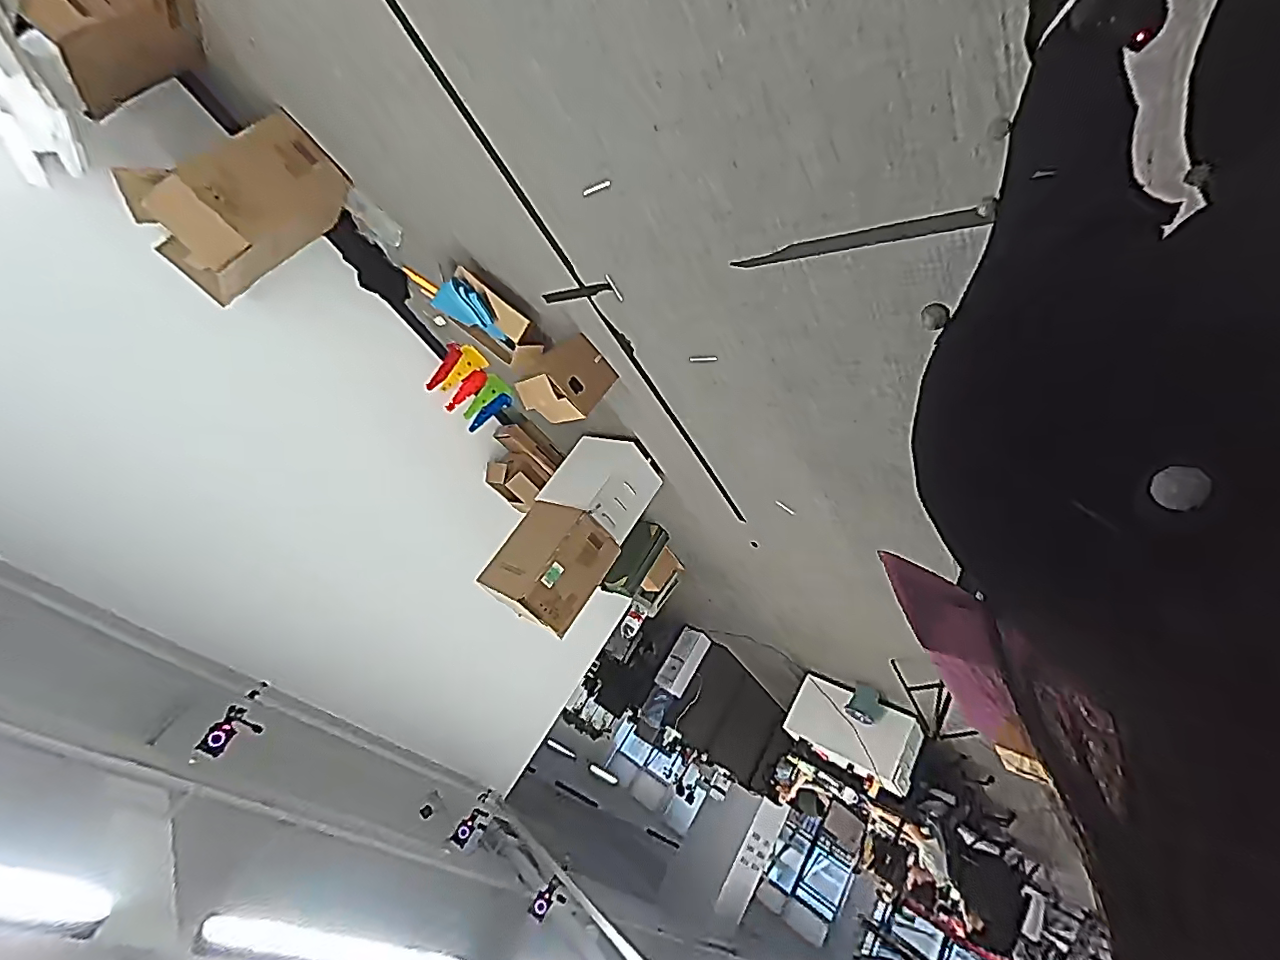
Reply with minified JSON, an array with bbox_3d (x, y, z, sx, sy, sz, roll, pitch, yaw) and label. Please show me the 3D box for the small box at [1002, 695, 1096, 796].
[{"bbox_3d":[1.157,0.742,1.523,0.168,0.176,0.179,6,143,51],"label":"small box"}]
